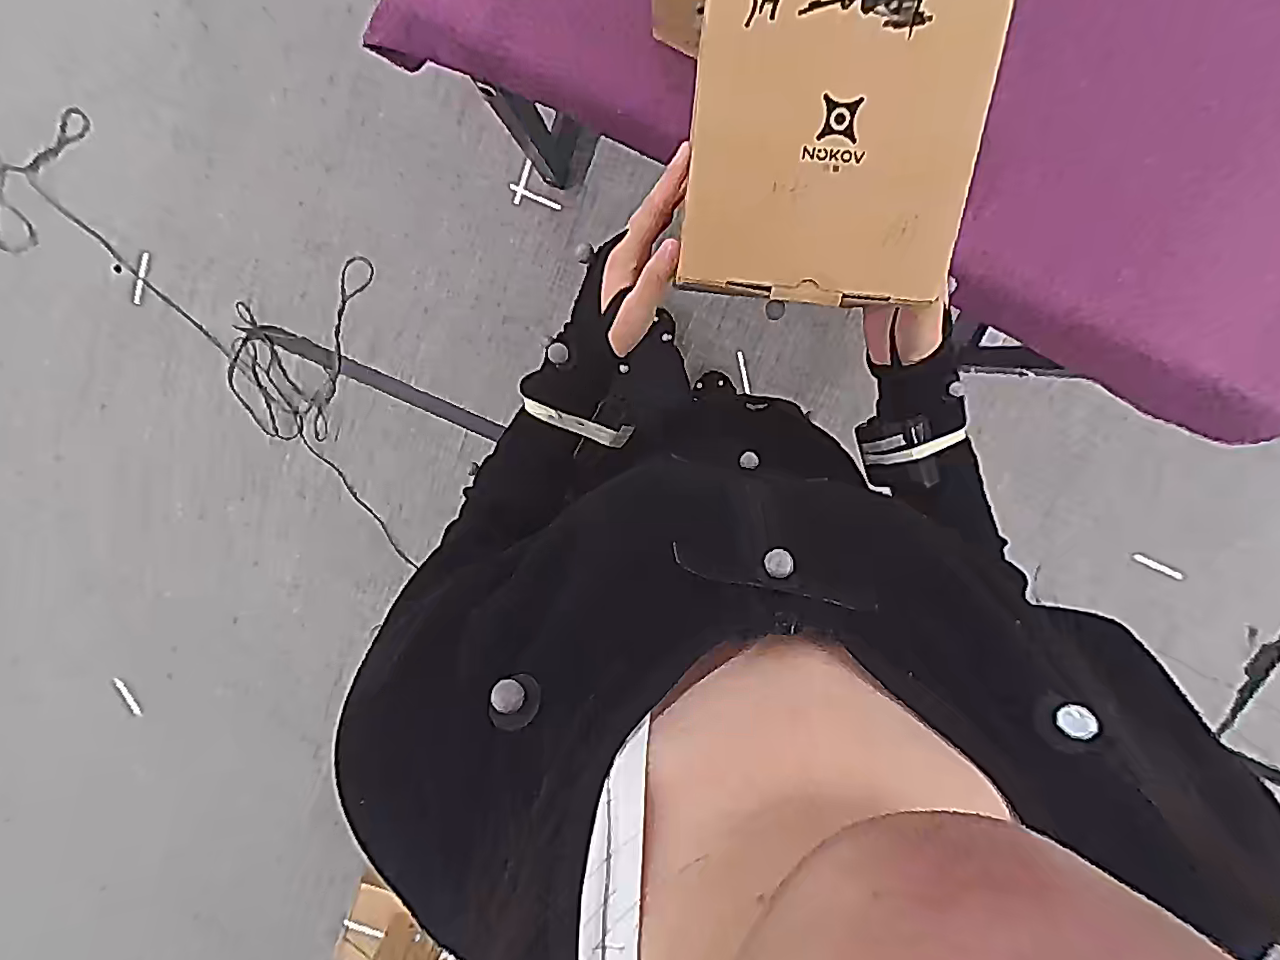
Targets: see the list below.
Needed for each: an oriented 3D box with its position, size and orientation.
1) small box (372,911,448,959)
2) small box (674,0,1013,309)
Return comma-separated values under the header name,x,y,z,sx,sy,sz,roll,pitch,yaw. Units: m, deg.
name,x,y,z,sx,sy,sz,roll,pitch,yaw
small box,-0.641,1.331,1.460,0.168,0.176,0.179,20,102,-3
small box,0.118,-0.227,0.396,0.168,0.176,0.179,7,108,0
